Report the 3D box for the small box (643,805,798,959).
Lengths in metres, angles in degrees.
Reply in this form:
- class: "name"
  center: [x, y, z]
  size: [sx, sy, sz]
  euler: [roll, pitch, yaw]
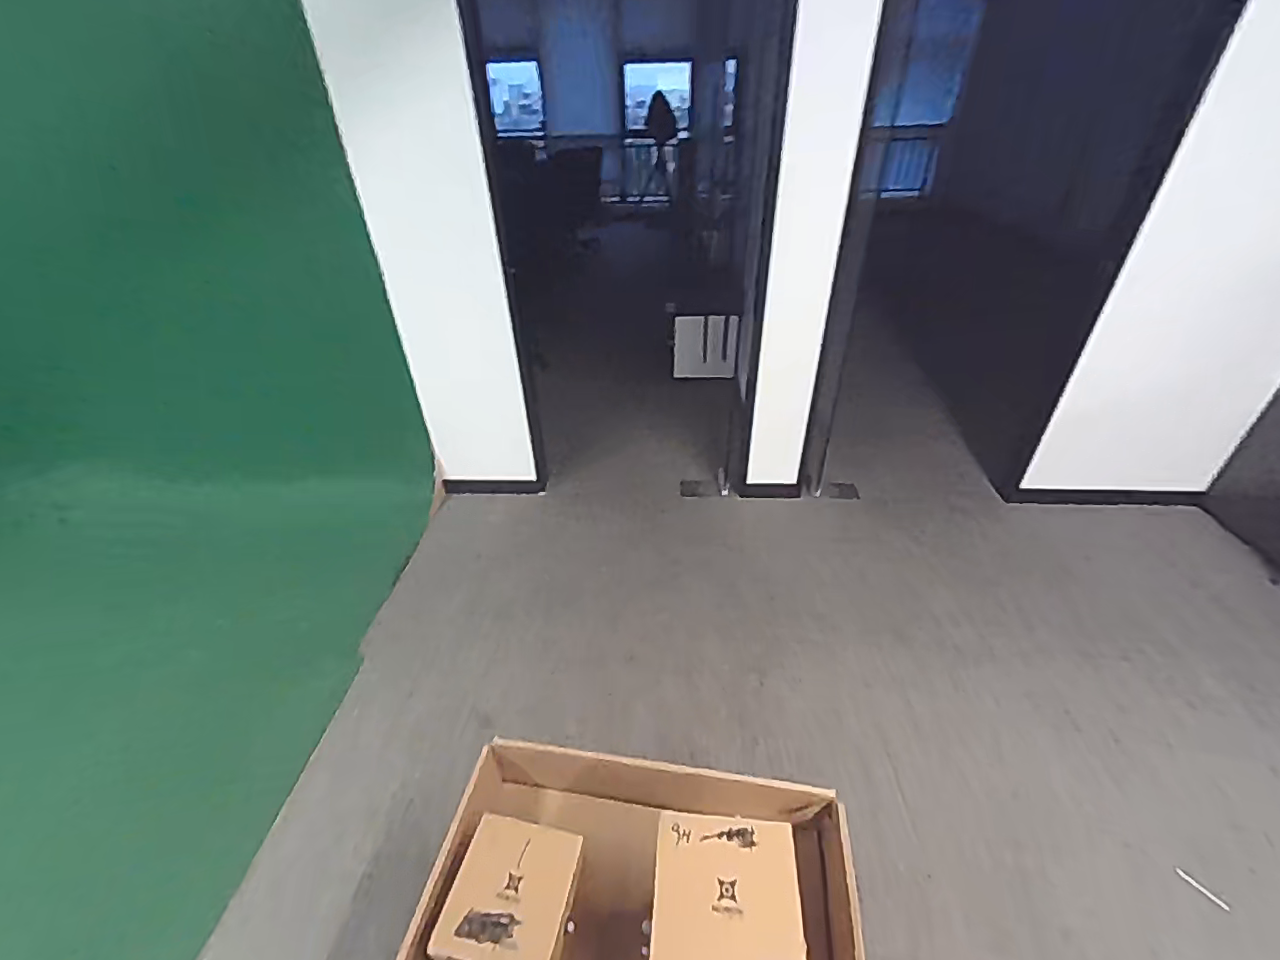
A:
- class: "small box"
  center: [0.094, 0.535, 0.661]
  size: [0.168, 0.176, 0.179]
  euler: [3, 37, 6]
